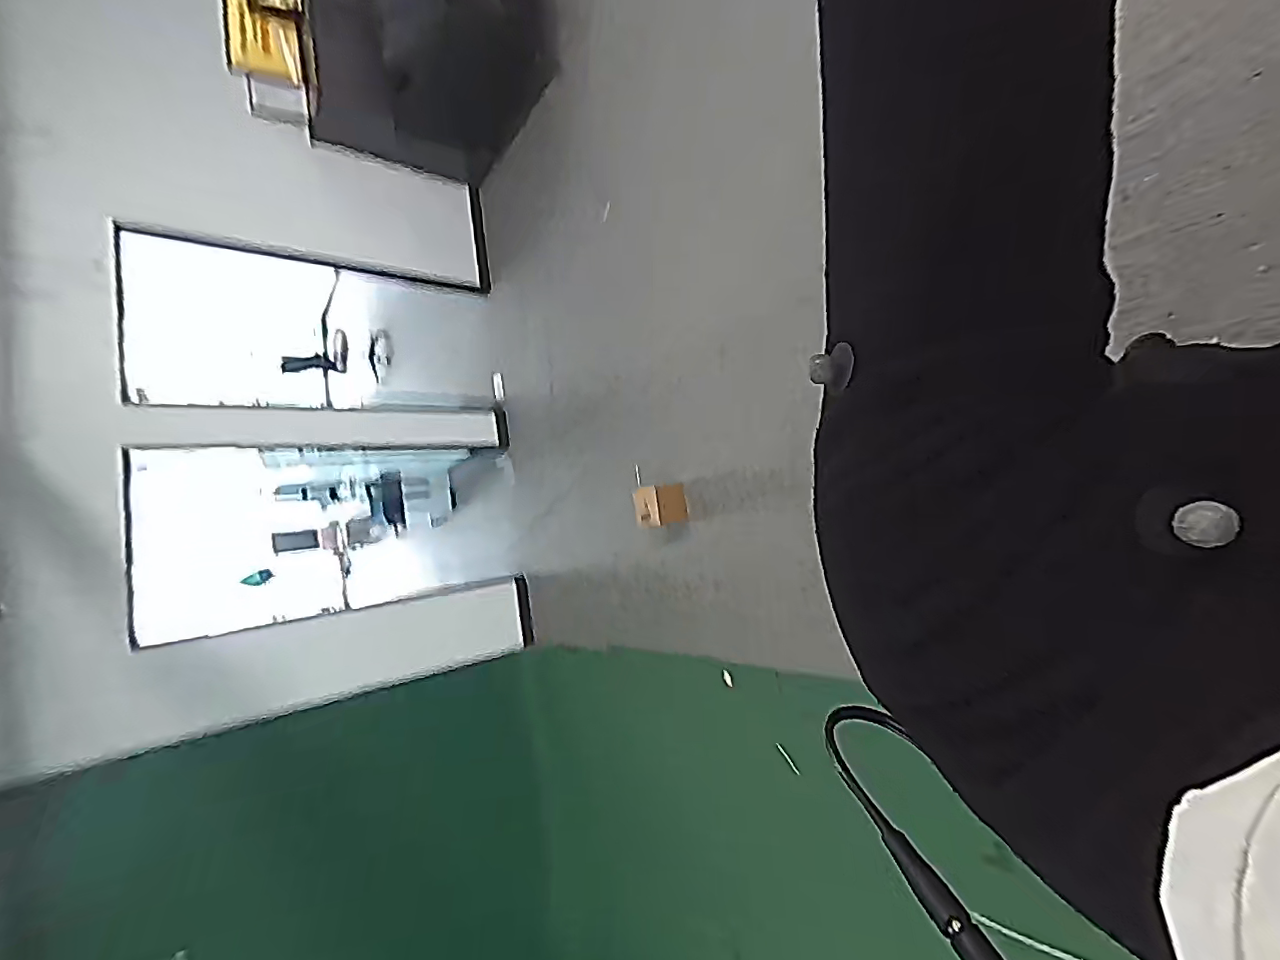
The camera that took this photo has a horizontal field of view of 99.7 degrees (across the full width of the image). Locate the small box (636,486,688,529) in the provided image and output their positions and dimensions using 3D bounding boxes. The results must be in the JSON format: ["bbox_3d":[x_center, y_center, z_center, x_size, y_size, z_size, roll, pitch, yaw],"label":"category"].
[{"bbox_3d":[0.106,0.126,2.484,0.168,0.176,0.179,-16,79,51],"label":"small box"}]
